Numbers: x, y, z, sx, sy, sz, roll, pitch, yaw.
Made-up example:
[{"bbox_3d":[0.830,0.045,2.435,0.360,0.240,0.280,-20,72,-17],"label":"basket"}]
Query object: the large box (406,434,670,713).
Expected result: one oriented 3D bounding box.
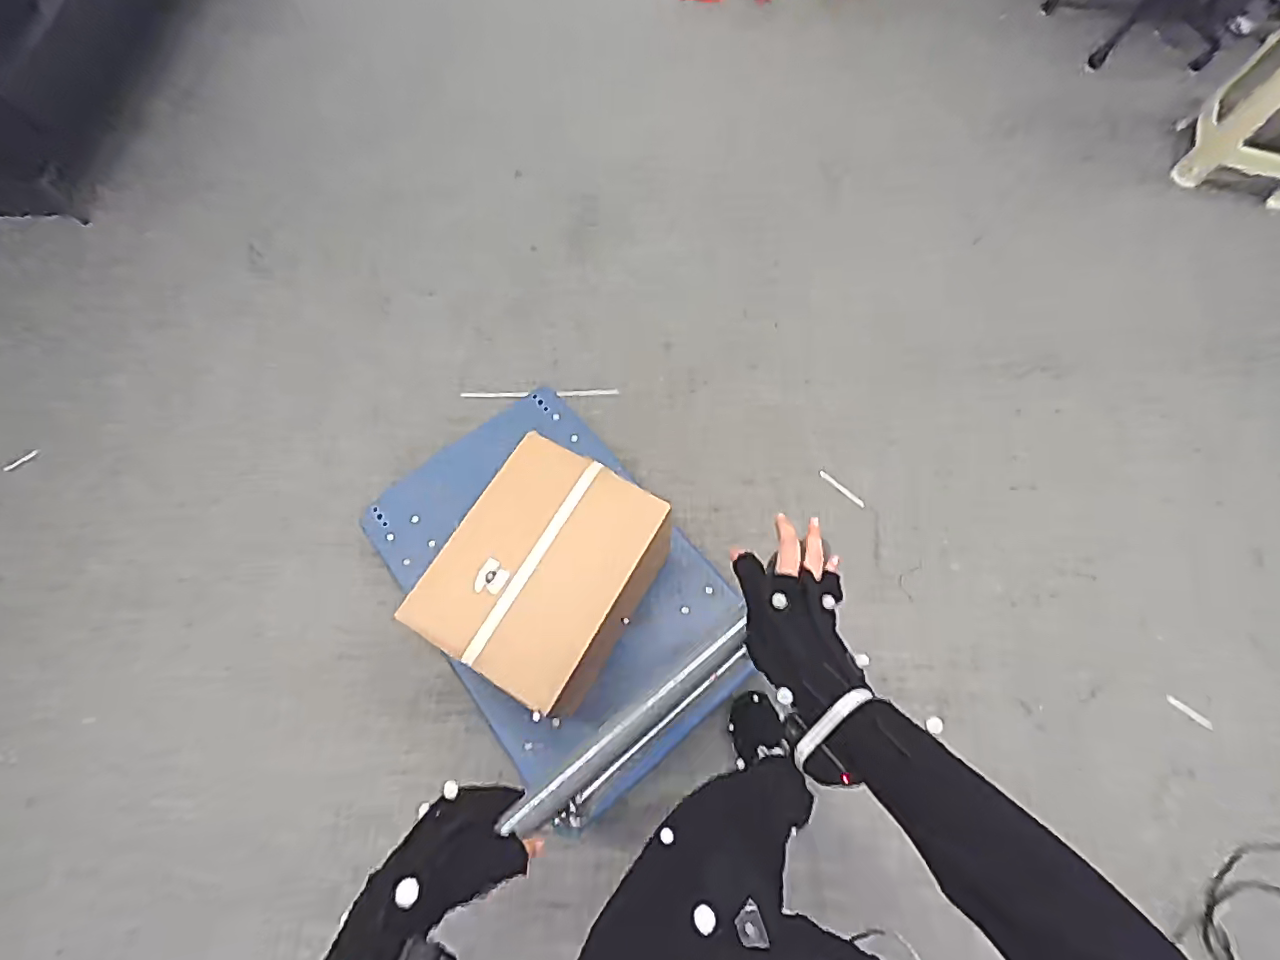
[{"bbox_3d":[-0.164,0.191,1.077,0.320,0.320,0.408,28,72,14],"label":"large box"}]
